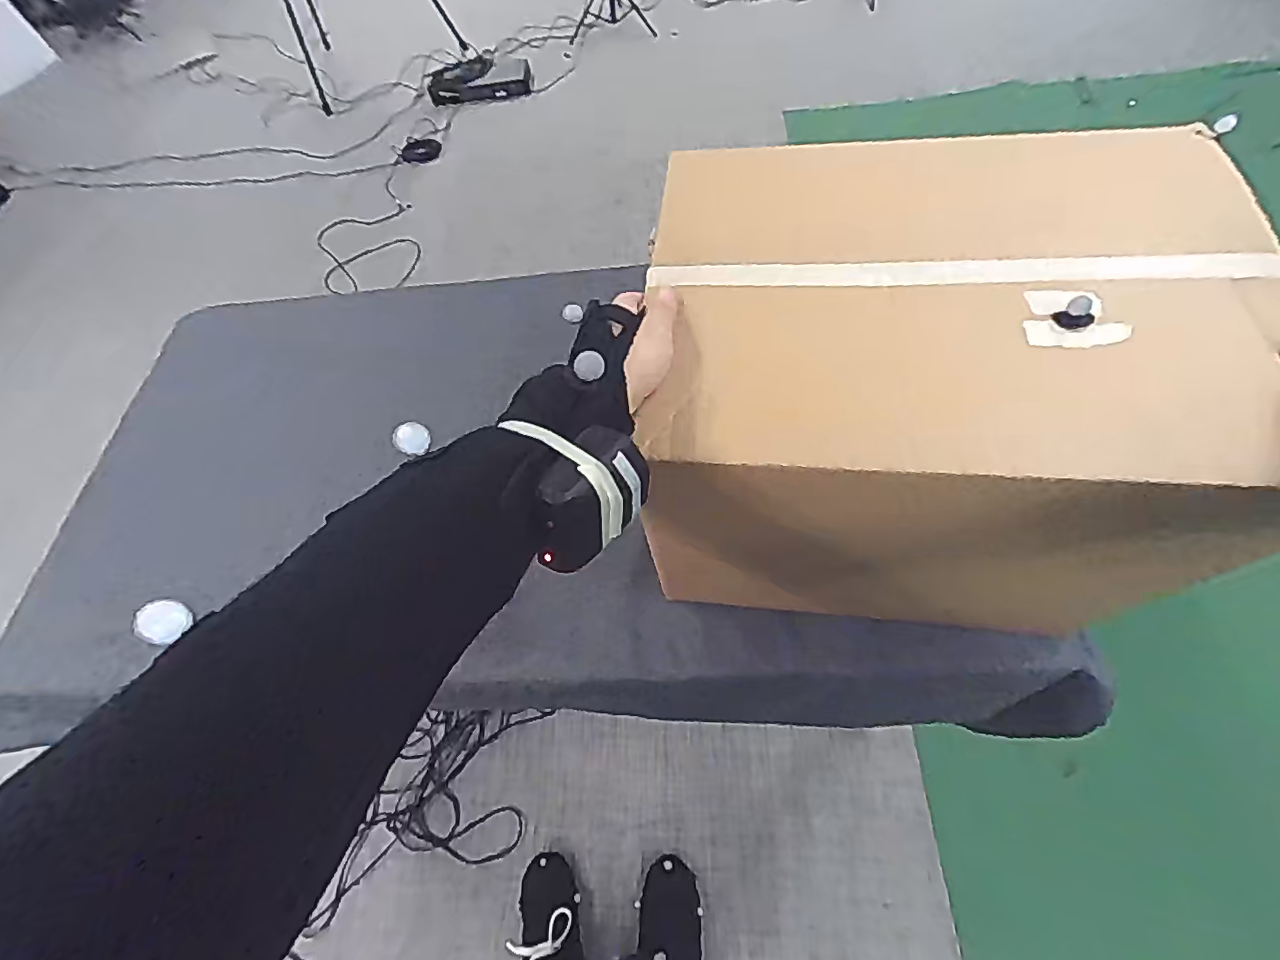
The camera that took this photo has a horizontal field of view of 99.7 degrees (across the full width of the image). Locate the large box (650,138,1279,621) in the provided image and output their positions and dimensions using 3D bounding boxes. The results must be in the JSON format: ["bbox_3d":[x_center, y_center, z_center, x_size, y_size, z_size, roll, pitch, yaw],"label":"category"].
[{"bbox_3d":[0.229,-0.070,0.505,0.408,0.320,0.320,3,63,8],"label":"large box"}]
